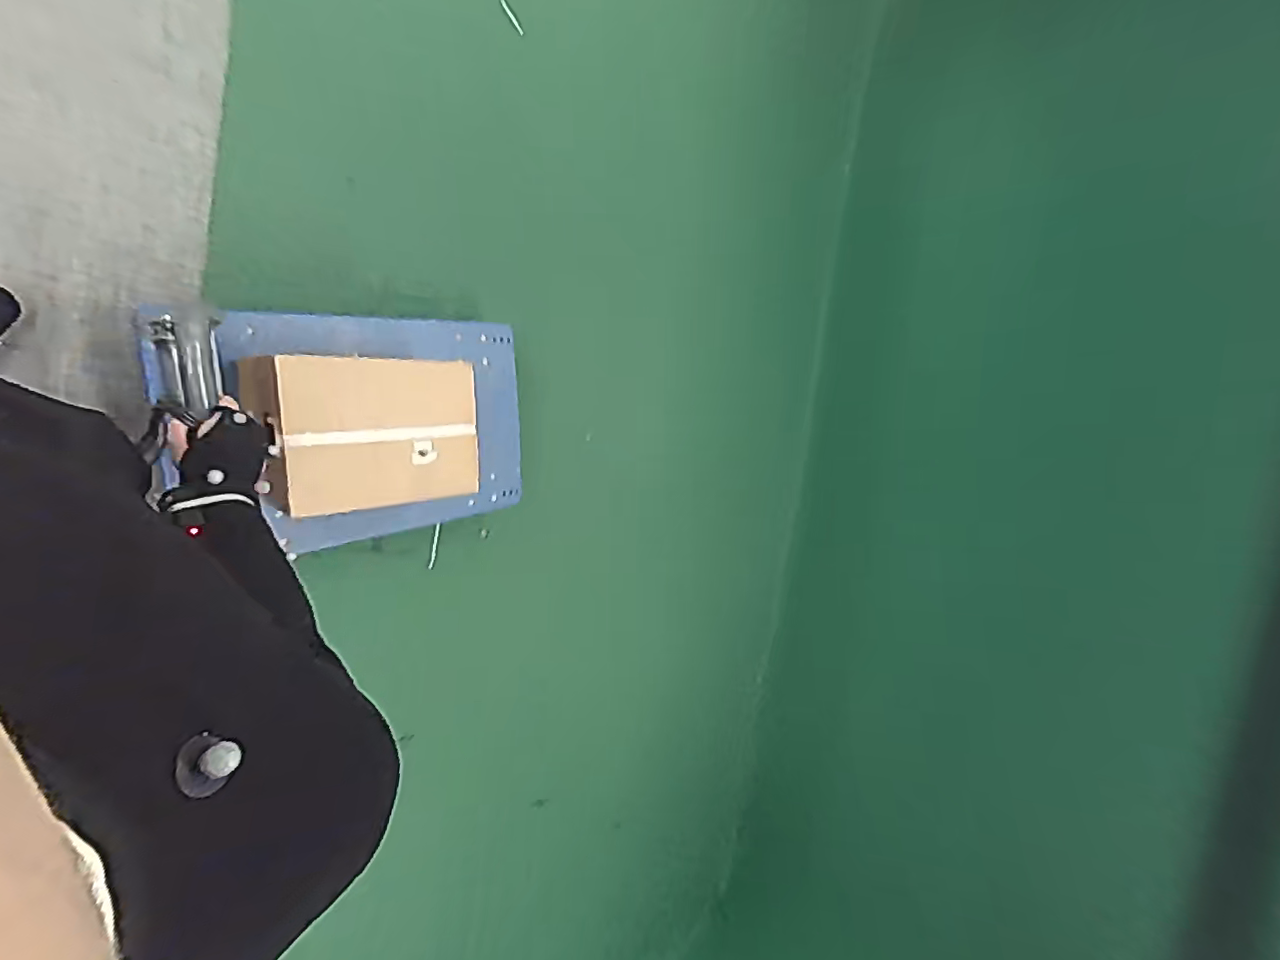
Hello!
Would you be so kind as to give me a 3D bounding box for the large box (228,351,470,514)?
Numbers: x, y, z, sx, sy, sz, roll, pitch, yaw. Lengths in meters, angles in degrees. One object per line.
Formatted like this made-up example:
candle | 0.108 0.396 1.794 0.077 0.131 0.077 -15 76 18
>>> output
large box | -0.660 -0.127 1.253 0.408 0.320 0.320 -10 105 -47
